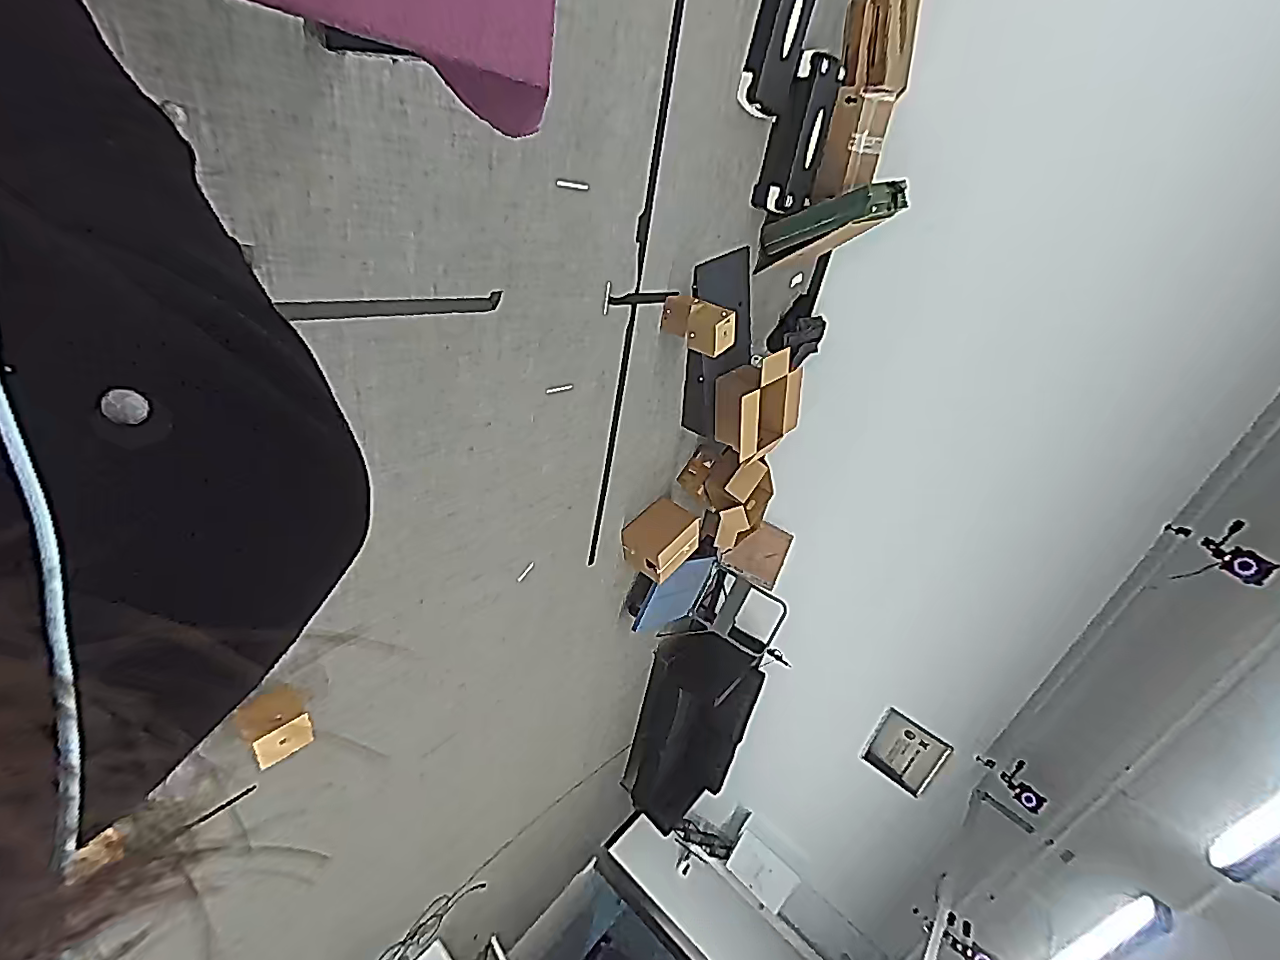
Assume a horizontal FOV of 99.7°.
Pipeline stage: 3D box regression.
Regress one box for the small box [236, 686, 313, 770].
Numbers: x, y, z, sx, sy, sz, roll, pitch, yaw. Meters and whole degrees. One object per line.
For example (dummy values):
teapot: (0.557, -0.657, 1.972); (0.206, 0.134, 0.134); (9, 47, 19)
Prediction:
small box: (-1.313, 0.883, 1.938); (0.179, 0.176, 0.168); (-27, 136, -45)
